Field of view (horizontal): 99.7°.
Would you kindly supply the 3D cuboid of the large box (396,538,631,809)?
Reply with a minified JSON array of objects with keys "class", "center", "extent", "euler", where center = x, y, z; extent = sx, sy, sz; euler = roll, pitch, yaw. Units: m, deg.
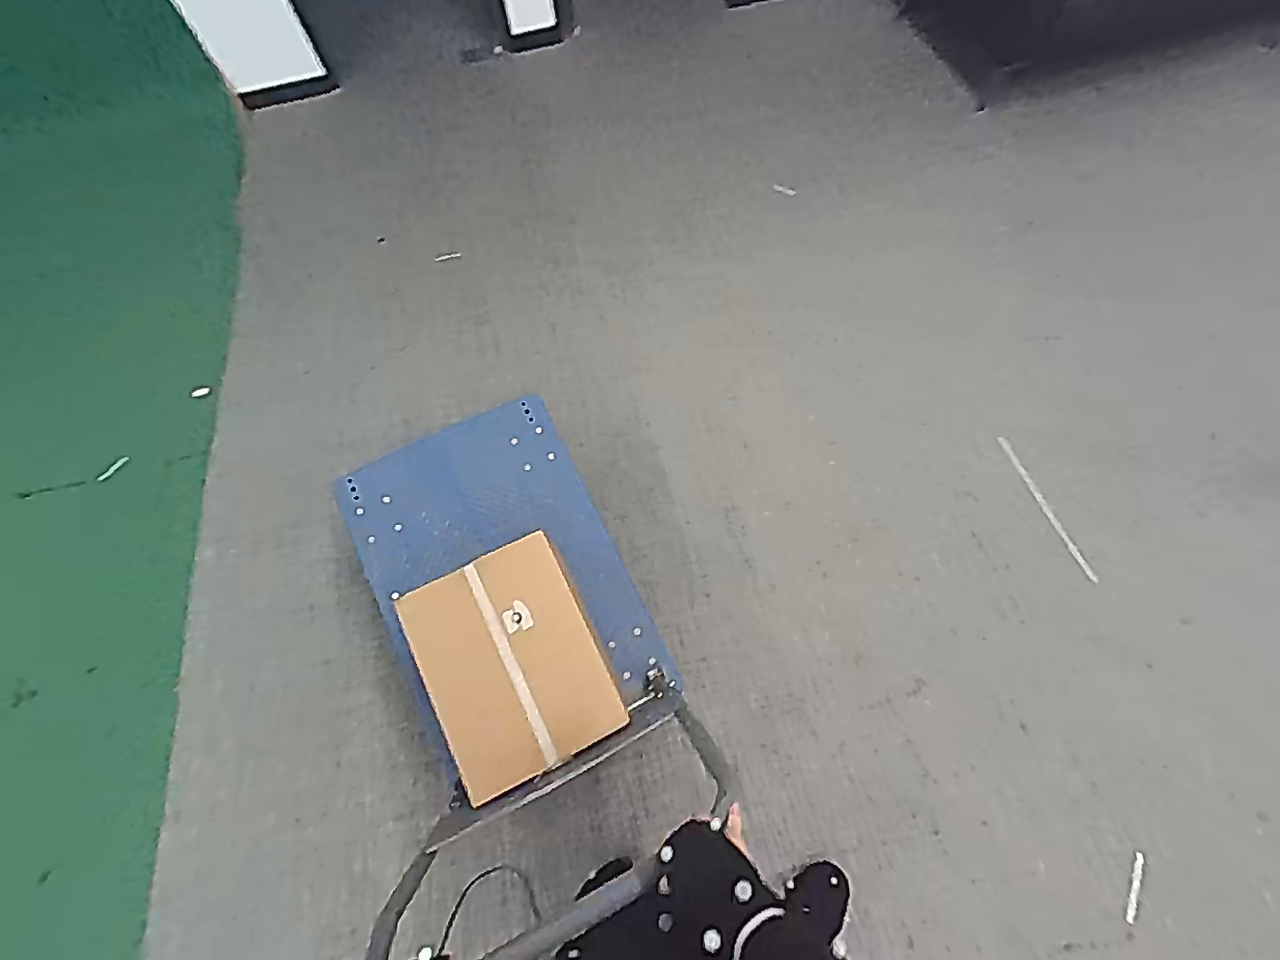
[{"class":"large box","center":[-0.245,0.387,1.160],"extent":[0.320,0.320,0.408],"euler":[-27,78,-9]}]
